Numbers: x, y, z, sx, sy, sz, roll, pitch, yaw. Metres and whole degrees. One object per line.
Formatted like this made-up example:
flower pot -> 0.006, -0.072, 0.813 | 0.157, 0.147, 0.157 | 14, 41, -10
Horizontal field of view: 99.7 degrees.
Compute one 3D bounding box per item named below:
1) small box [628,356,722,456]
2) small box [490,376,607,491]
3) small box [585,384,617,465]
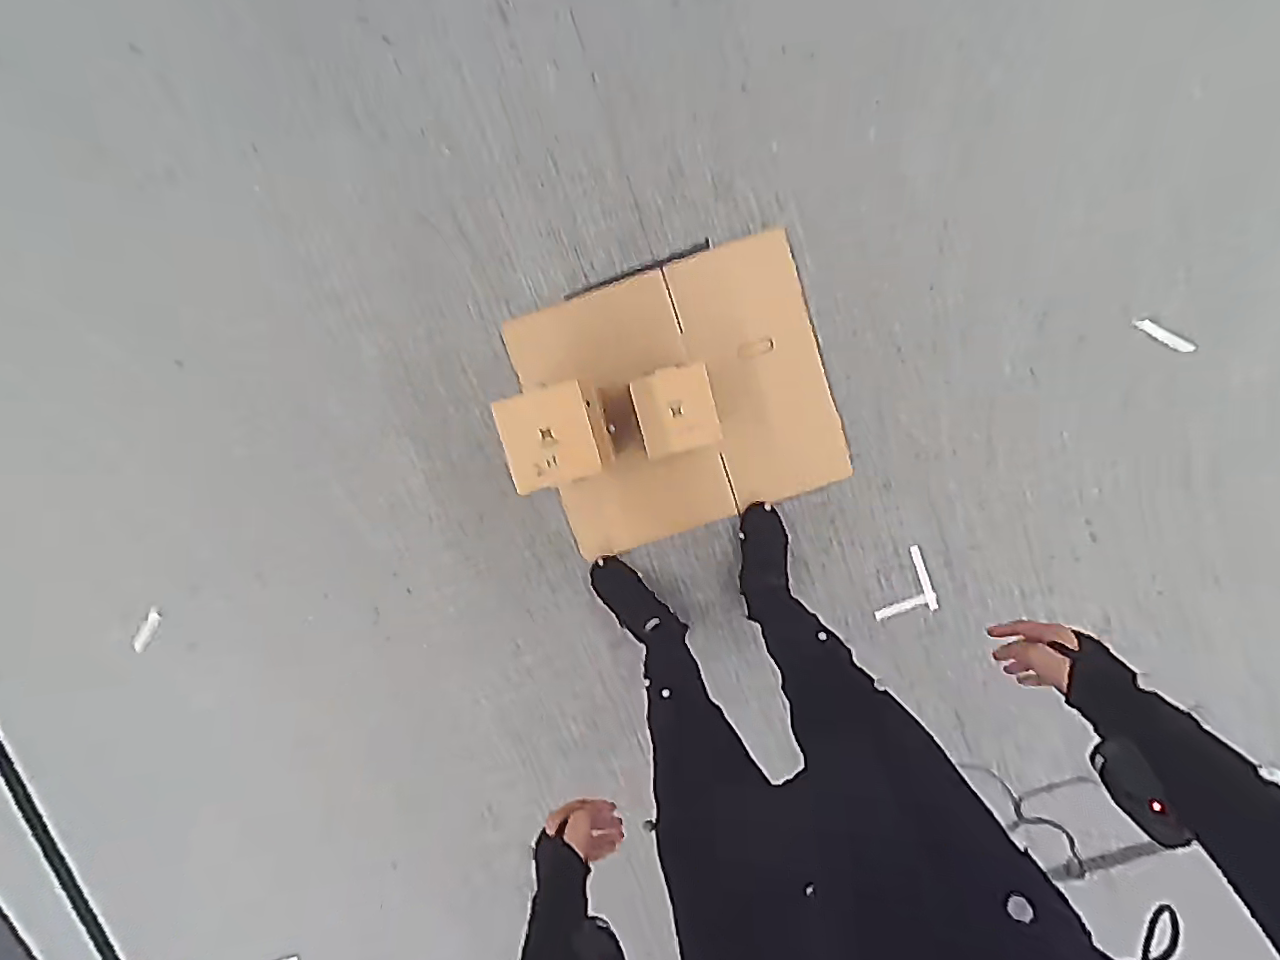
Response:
small box -> 0.071, -0.161, 1.203 | 0.168, 0.176, 0.179 | -15, 97, 2
small box -> -0.168, -0.092, 1.047 | 0.168, 0.176, 0.179 | -15, 98, 3
small box -> -0.154, -0.111, 1.211 | 0.168, 0.176, 0.179 | -16, 98, 3
